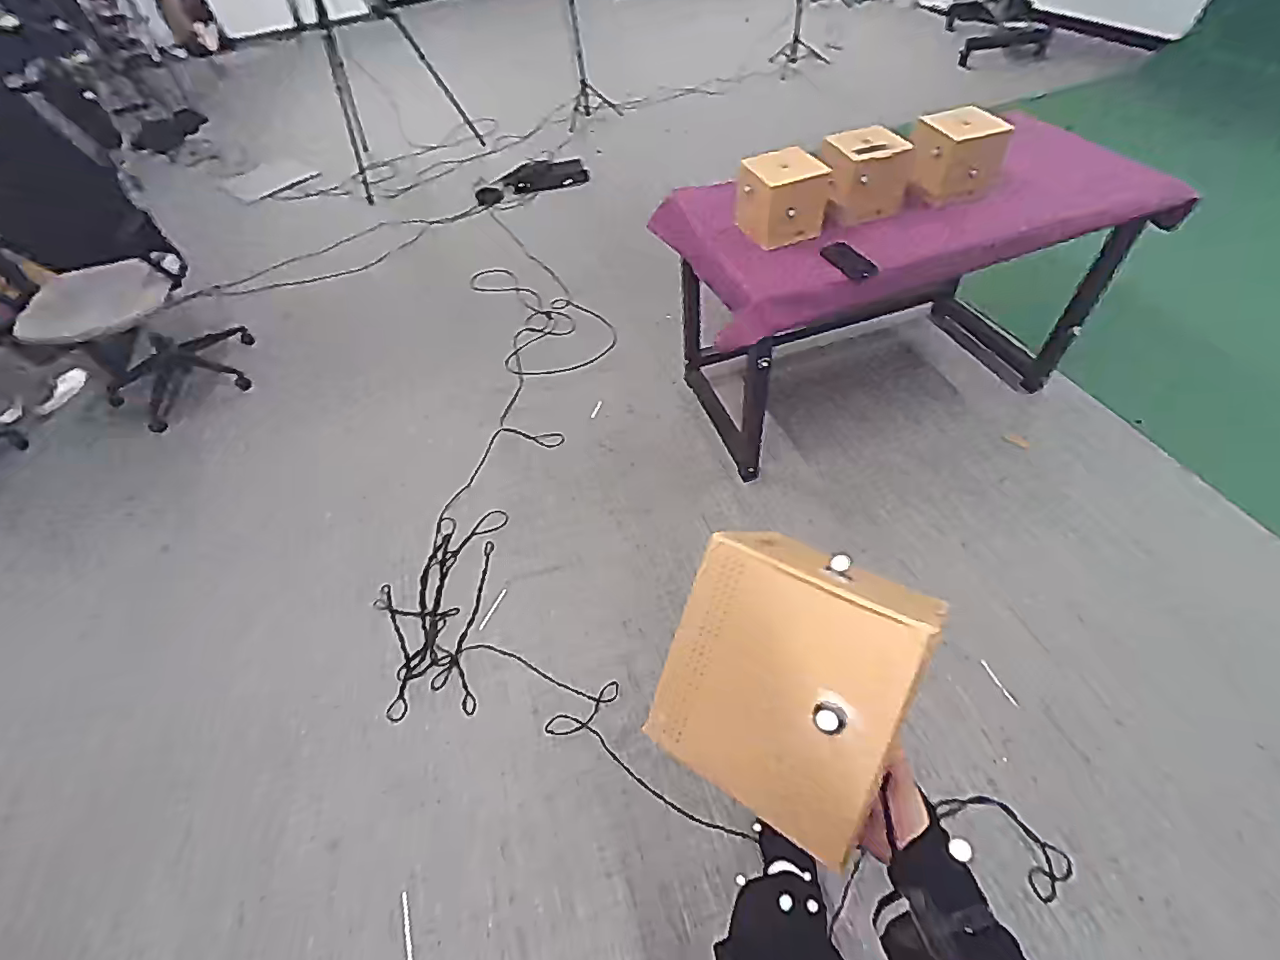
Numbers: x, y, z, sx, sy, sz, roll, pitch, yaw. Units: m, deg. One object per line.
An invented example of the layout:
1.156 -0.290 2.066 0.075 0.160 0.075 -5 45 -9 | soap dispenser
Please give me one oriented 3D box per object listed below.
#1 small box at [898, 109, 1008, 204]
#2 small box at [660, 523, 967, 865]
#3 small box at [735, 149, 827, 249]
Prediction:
0.837 -0.868 1.463 0.168 0.176 0.179 -14 51 -5 | small box
0.140 0.144 0.440 0.176 0.168 0.179 24 97 31 | small box
0.359 -0.725 1.411 0.168 0.176 0.179 -19 51 -8 | small box
